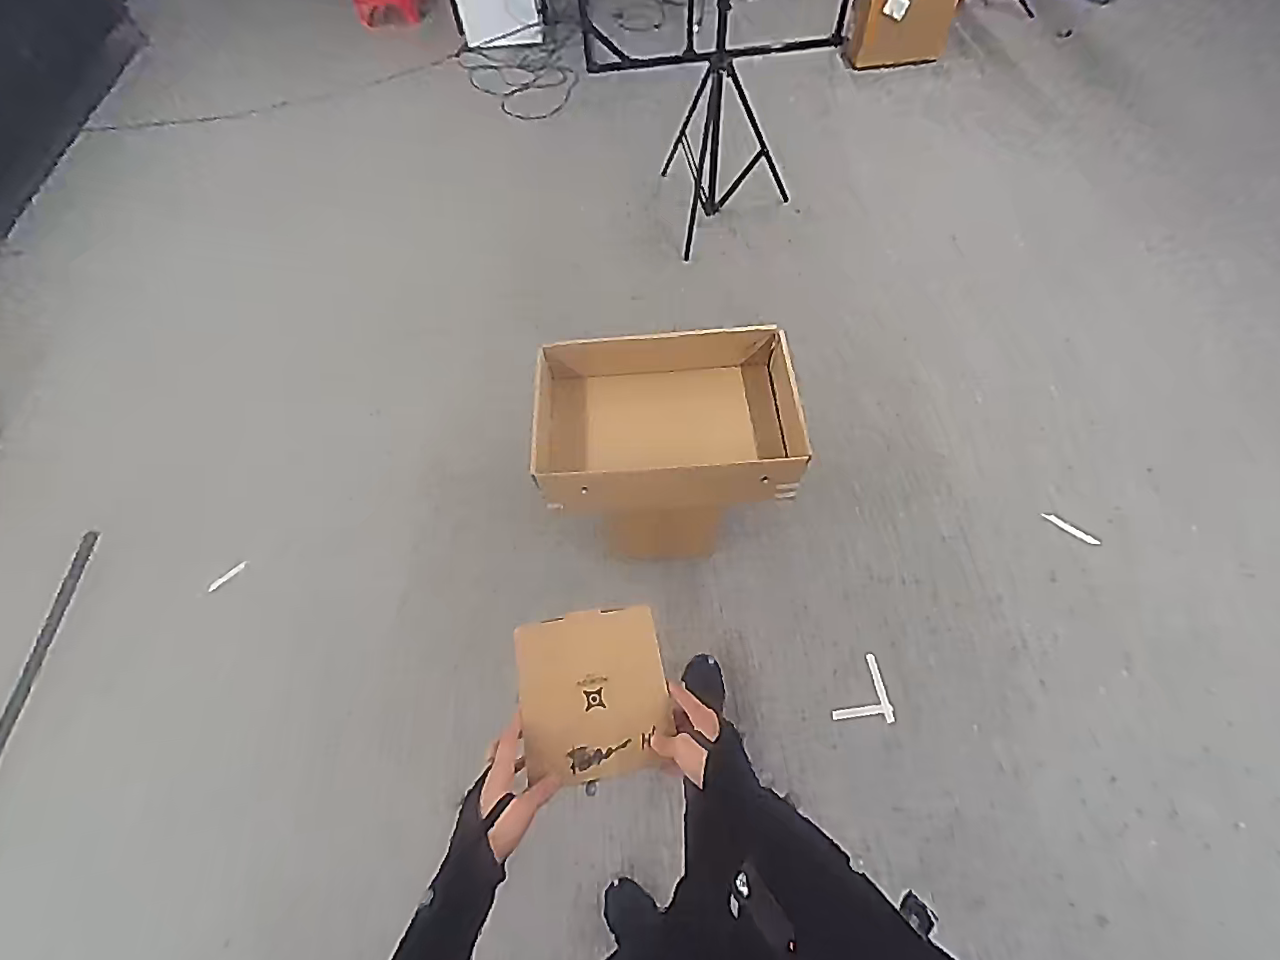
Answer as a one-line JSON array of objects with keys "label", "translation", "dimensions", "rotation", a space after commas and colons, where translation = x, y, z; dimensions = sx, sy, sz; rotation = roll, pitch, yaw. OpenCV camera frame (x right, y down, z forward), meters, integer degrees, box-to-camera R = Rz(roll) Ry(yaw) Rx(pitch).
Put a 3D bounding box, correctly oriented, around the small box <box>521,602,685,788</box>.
[{"label": "small box", "translation": [-0.052, 0.271, 0.677], "dimensions": [0.168, 0.176, 0.179], "rotation": [-8, 64, -8]}]
